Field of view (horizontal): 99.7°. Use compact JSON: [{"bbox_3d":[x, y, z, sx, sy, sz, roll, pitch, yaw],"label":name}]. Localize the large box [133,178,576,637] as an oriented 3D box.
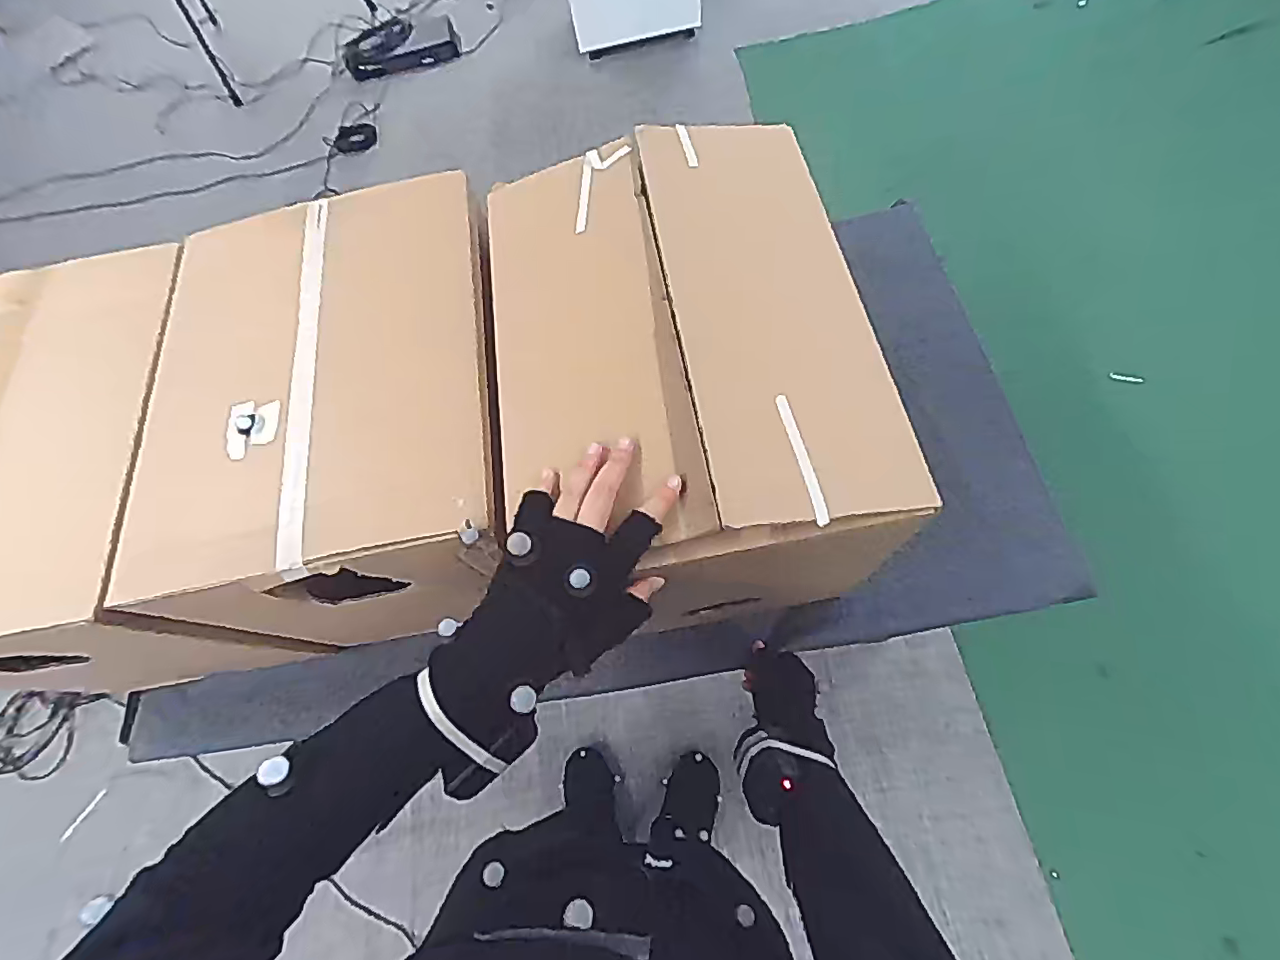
[{"bbox_3d":[-0.278,-0.059,0.639,0.320,0.320,0.408,-12,67,3],"label":"large box"}]
